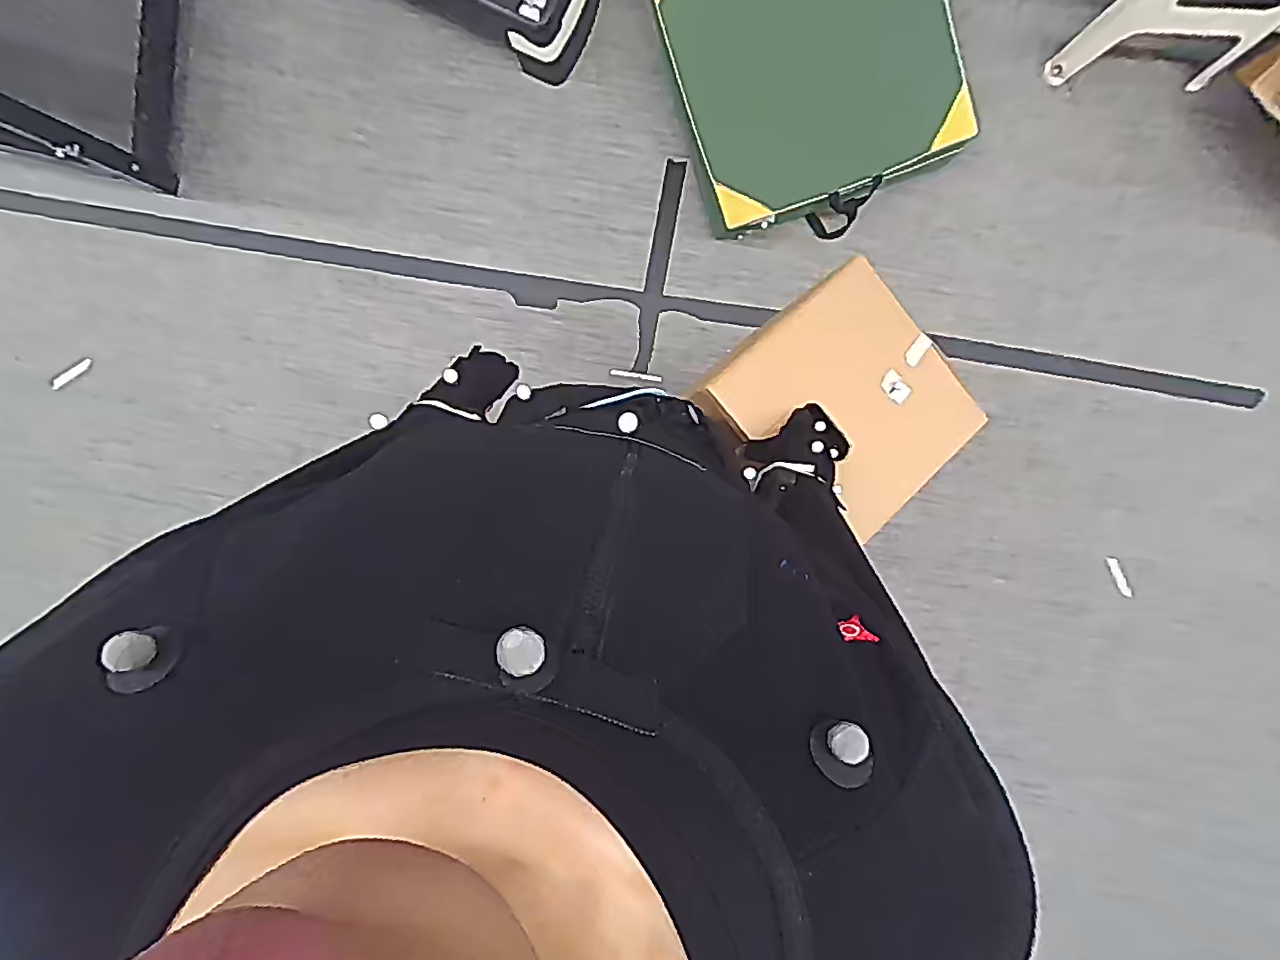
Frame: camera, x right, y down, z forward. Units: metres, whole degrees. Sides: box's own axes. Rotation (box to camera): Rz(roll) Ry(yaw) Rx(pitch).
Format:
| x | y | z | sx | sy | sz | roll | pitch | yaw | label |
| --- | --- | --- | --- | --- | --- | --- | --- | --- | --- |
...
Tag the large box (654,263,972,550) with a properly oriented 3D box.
| x | y | z | sx | sy | sz | roll | pitch | yaw | label |
| --- | --- | --- | --- | --- | --- | --- | --- | --- | --- |
| 0.266 | -0.104 | 0.966 | 0.320 | 0.408 | 0.320 | -39 | 94 | -8 | large box |
